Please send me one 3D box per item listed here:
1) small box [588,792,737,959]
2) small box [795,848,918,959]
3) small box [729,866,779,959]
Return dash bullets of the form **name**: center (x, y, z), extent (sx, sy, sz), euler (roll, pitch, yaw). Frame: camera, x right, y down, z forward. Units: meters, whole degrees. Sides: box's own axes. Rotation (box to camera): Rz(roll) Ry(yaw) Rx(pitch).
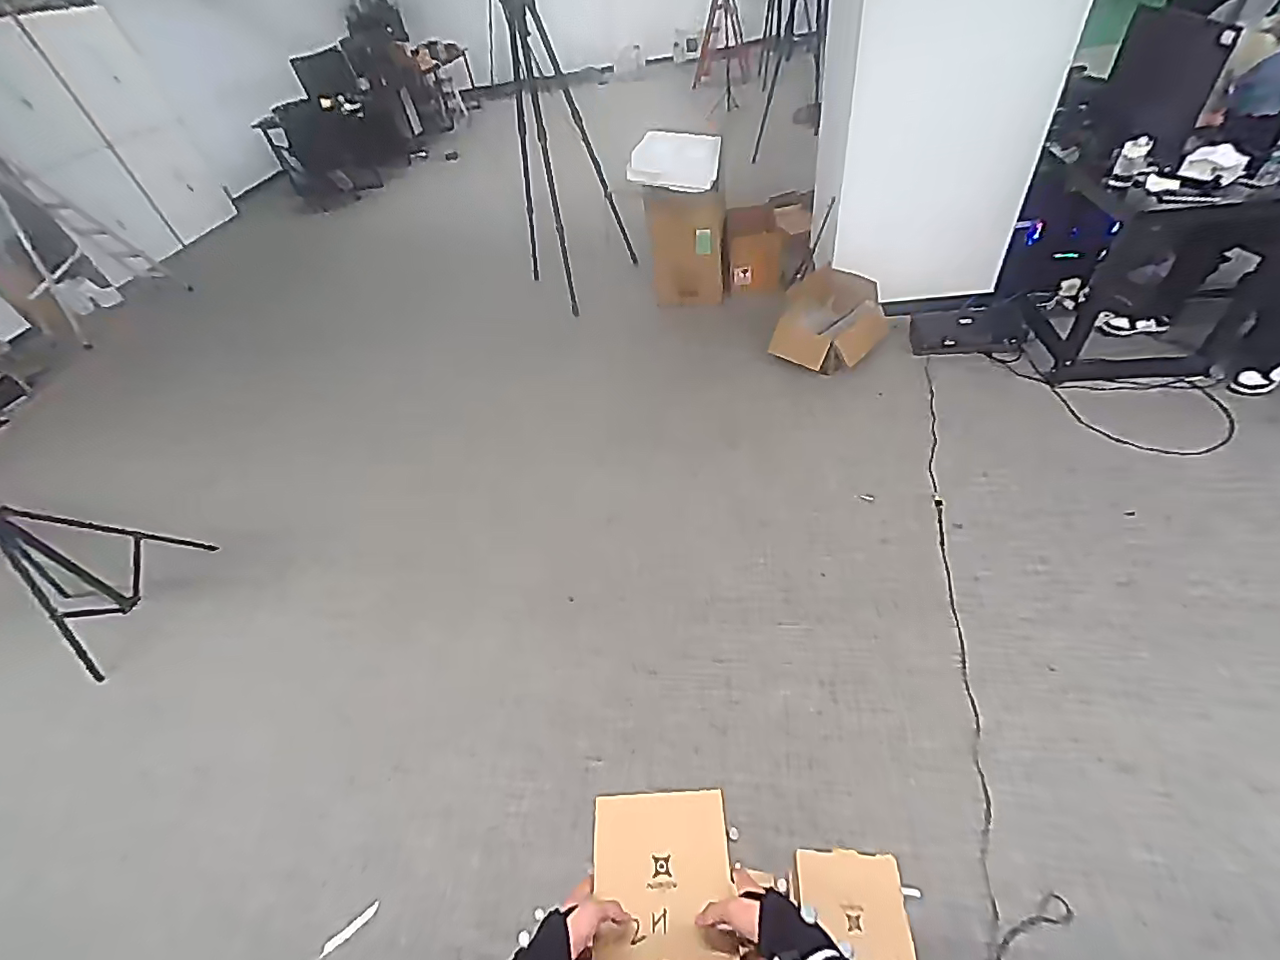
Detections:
- **small box**: center (0.033, 0.520, 0.697), extent (0.168, 0.176, 0.179), euler (-6, 50, 5)
- **small box**: center (0.355, 0.749, 0.911), extent (0.168, 0.176, 0.179), euler (-3, 45, 11)
- **small box**: center (0.180, 0.872, 1.064), extent (0.179, 0.176, 0.168), euler (1, 47, 15)
